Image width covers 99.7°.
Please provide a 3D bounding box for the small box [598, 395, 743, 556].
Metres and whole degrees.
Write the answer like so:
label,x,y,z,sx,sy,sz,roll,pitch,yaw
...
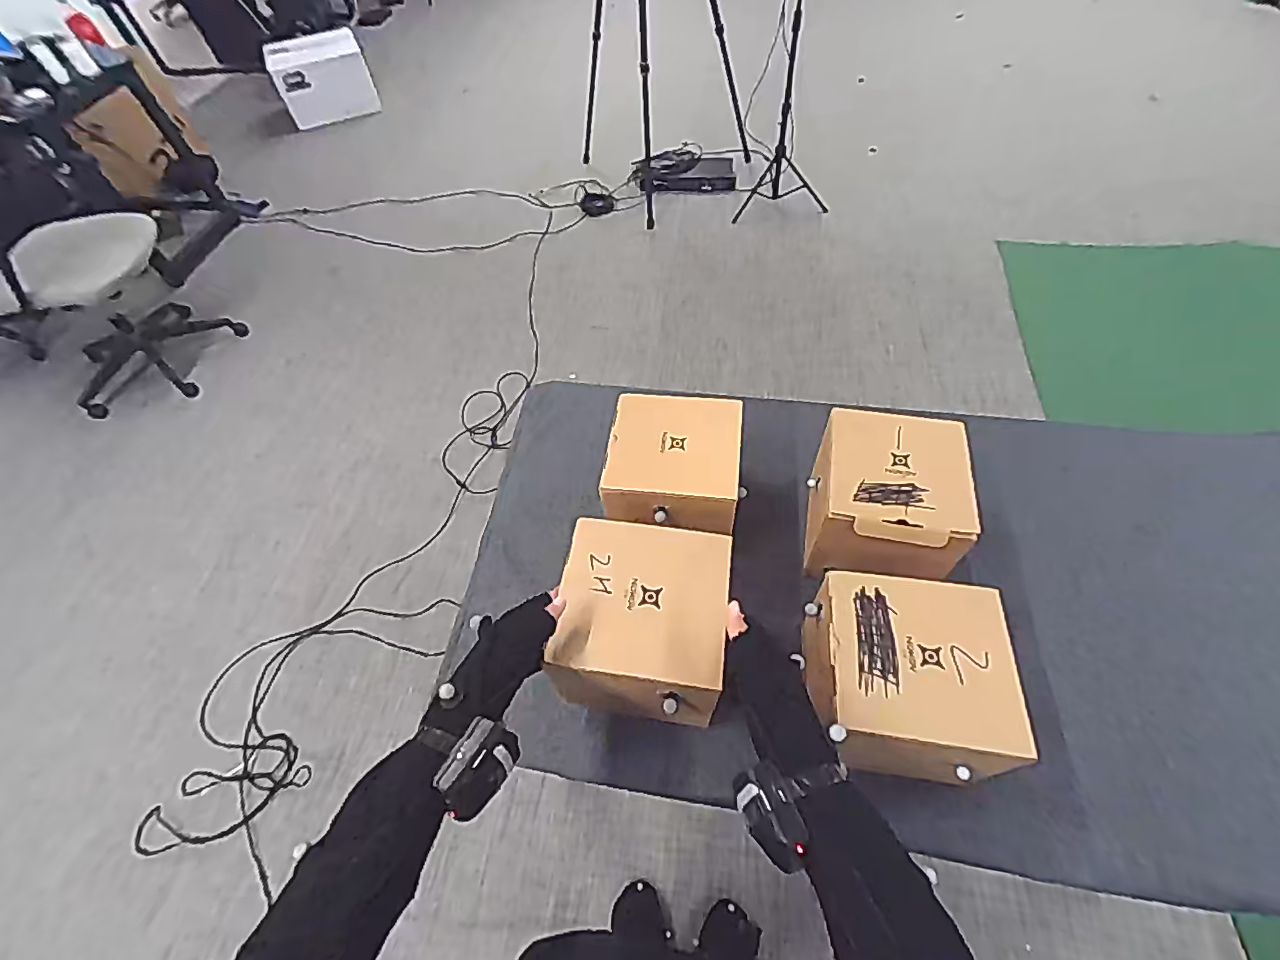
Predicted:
label,x,y,z,sx,sy,sz,roll,pitch,yaw
small box,0.050,-0.002,0.780,0.179,0.176,0.168,4,56,9
